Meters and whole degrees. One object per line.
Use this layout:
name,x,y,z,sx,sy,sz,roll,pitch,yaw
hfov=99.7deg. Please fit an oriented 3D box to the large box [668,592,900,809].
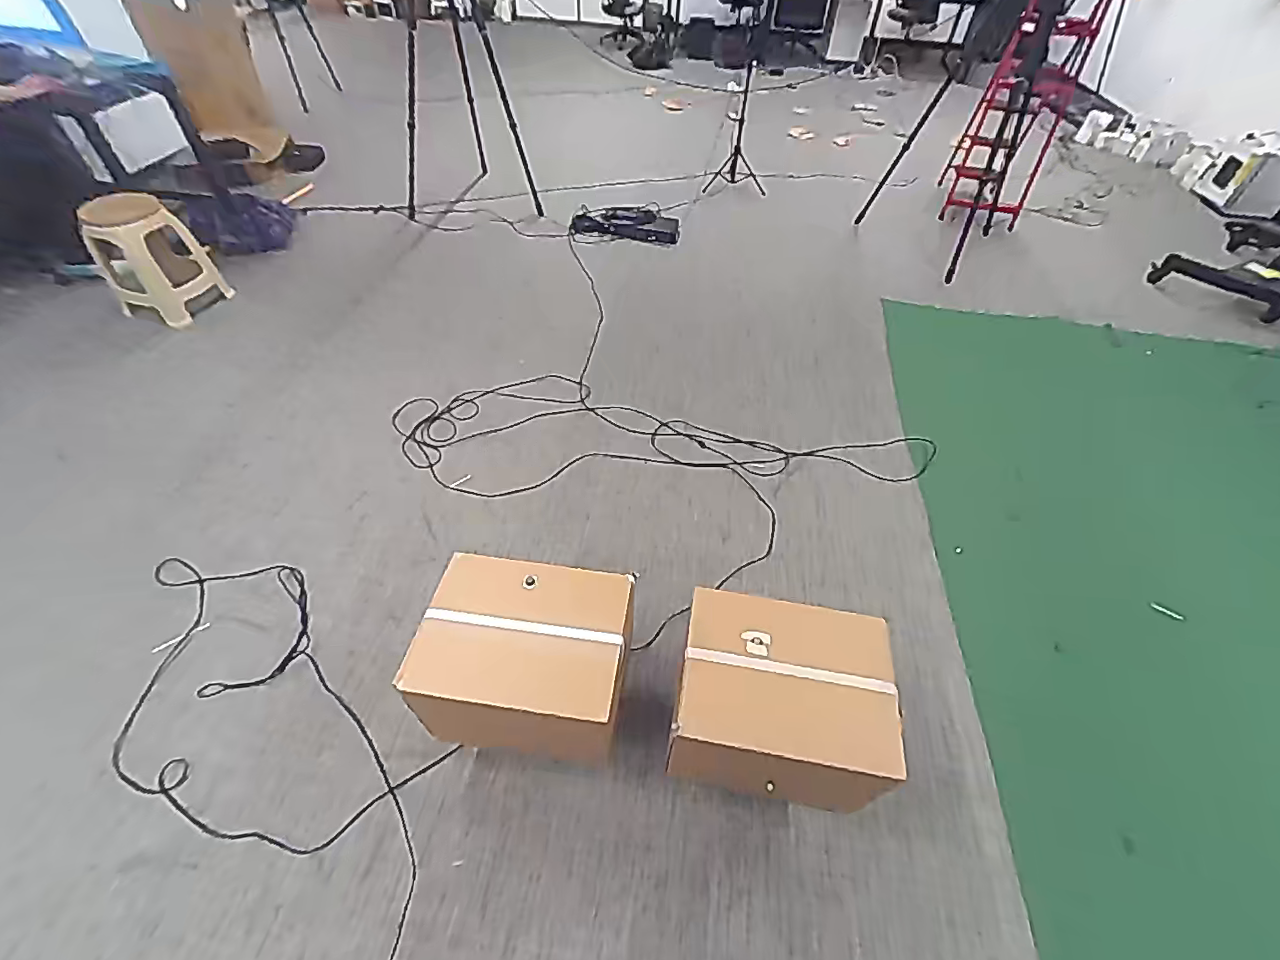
large box,0.286,0.481,1.174,0.408,0.320,0.320,9,48,6
